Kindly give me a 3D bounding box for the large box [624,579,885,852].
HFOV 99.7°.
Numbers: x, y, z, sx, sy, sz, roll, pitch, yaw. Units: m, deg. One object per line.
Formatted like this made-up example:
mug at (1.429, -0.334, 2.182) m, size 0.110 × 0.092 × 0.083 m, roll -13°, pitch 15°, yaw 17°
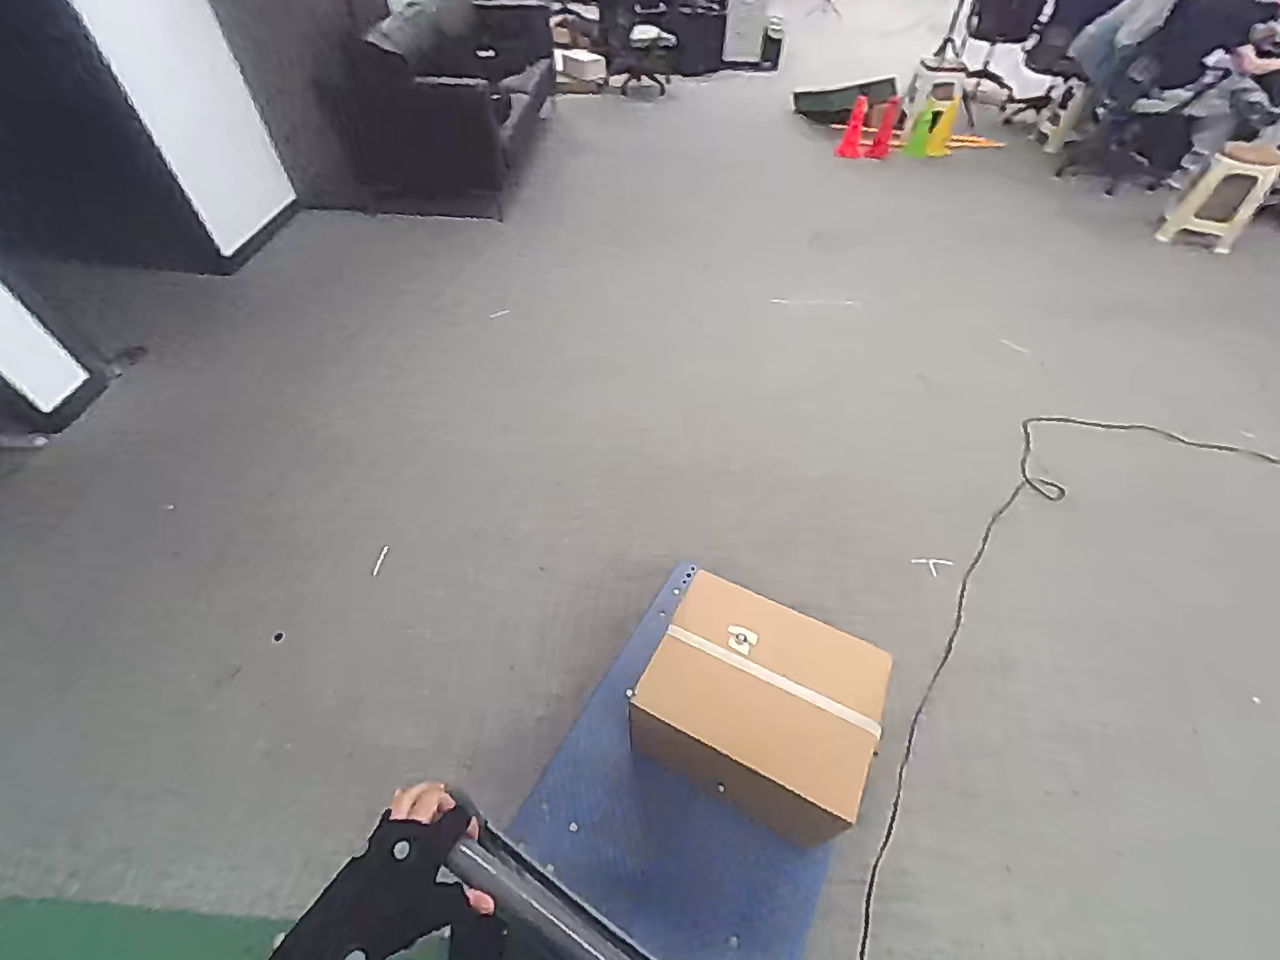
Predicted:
large box at (0.220, 0.471, 1.096) m, size 0.408 × 0.320 × 0.320 m, roll 21°, pitch 51°, yaw 19°
